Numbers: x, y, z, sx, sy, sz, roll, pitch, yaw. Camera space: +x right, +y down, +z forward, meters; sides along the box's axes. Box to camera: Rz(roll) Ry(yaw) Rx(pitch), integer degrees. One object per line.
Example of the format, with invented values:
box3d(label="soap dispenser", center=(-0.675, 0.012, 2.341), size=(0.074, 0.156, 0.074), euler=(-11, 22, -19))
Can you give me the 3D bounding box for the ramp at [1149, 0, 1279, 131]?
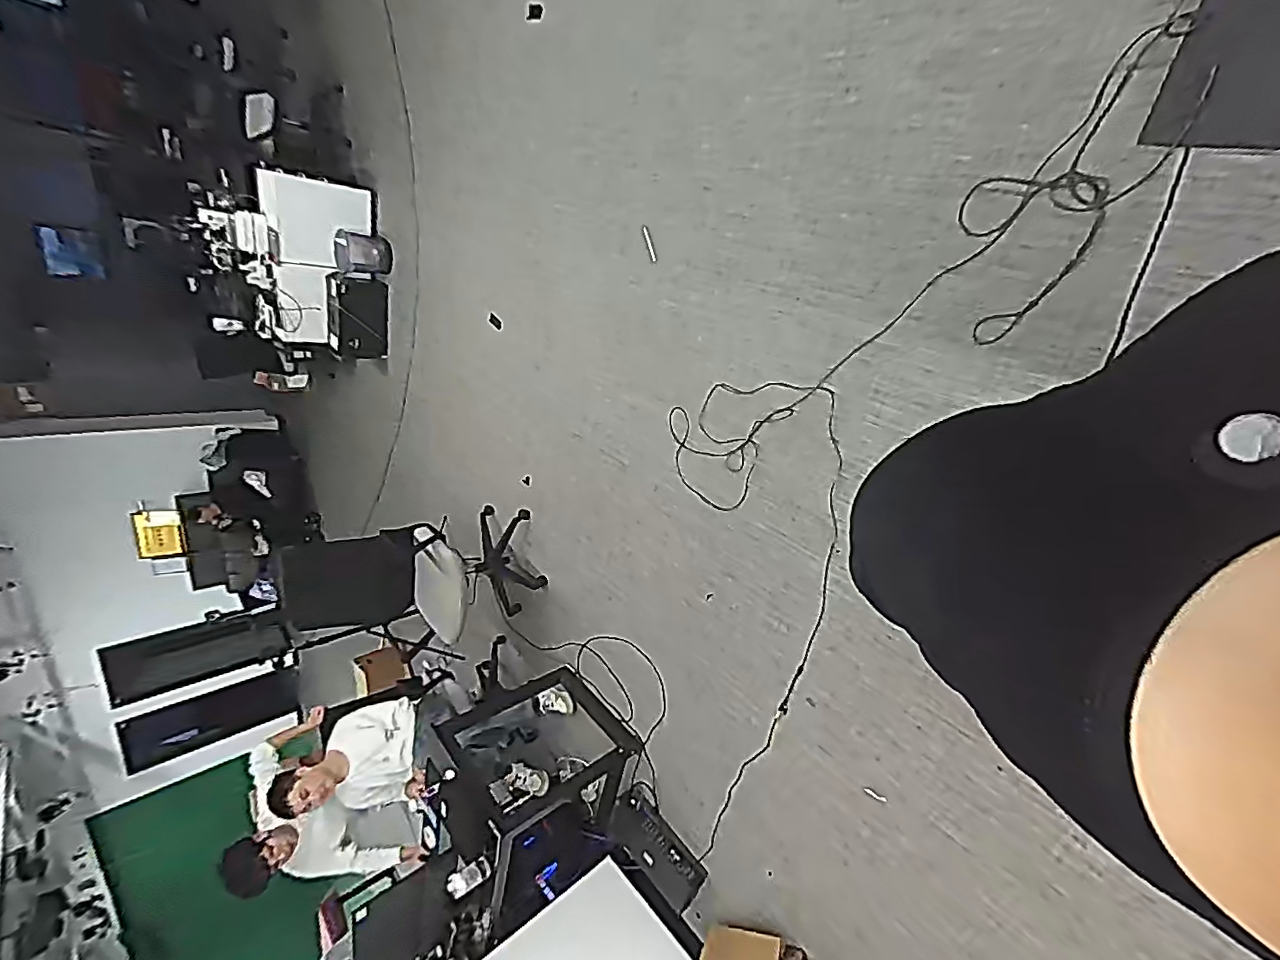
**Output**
box3d(label="ramp", center=(1.171, -1.004, 0.640), size=(0.509, 0.206, 0.991), euler=(29, 119, 37))
